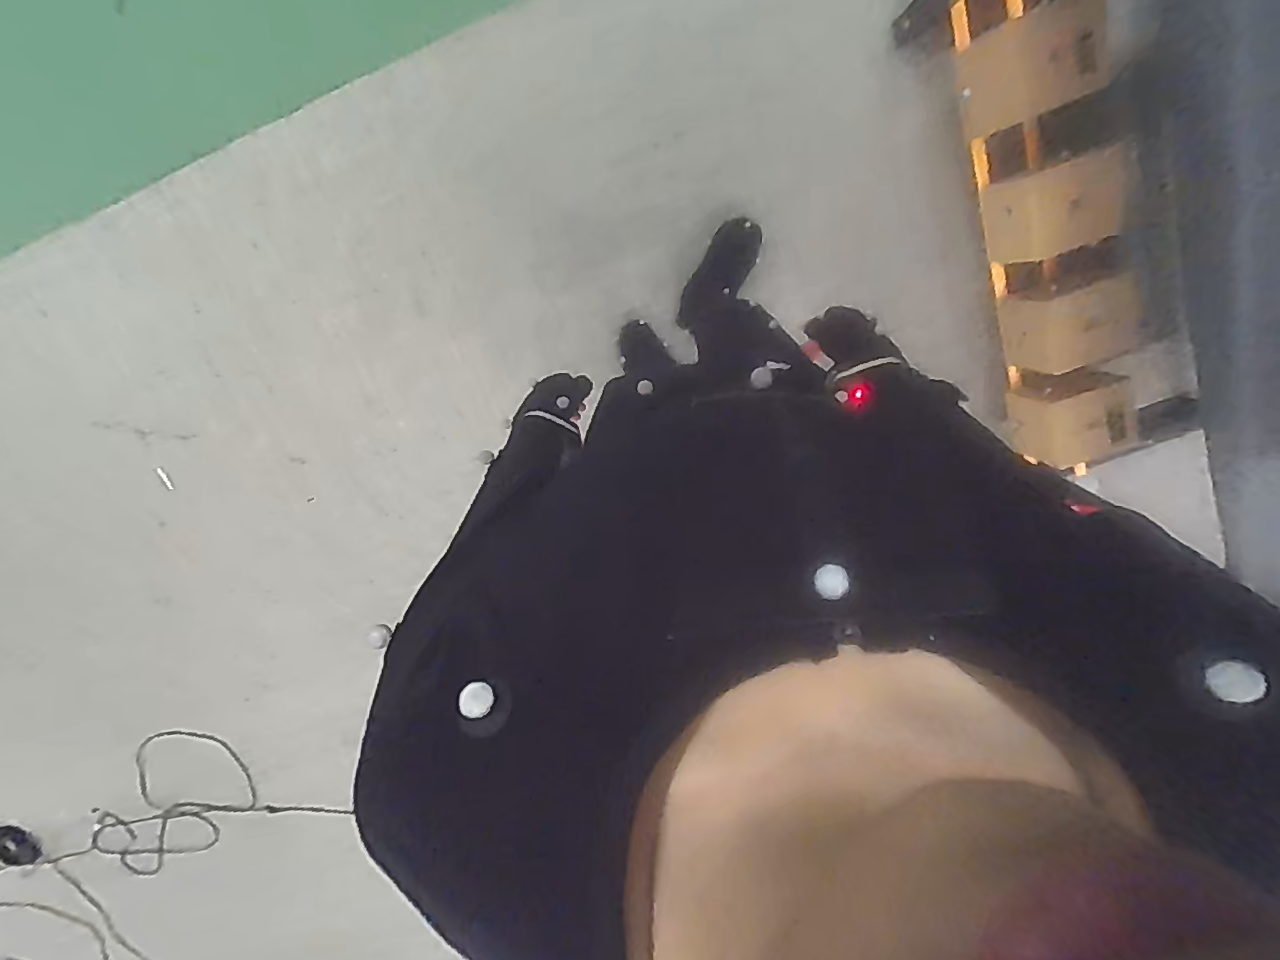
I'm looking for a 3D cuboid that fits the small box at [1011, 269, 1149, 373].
[{"bbox_3d":[0.958,-0.351,1.195,0.179,0.176,0.168,-21,108,7],"label":"small box"}]

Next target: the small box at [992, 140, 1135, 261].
[{"bbox_3d":[0.863,-0.565,1.120,0.179,0.176,0.168,-19,109,7],"label":"small box"}]
